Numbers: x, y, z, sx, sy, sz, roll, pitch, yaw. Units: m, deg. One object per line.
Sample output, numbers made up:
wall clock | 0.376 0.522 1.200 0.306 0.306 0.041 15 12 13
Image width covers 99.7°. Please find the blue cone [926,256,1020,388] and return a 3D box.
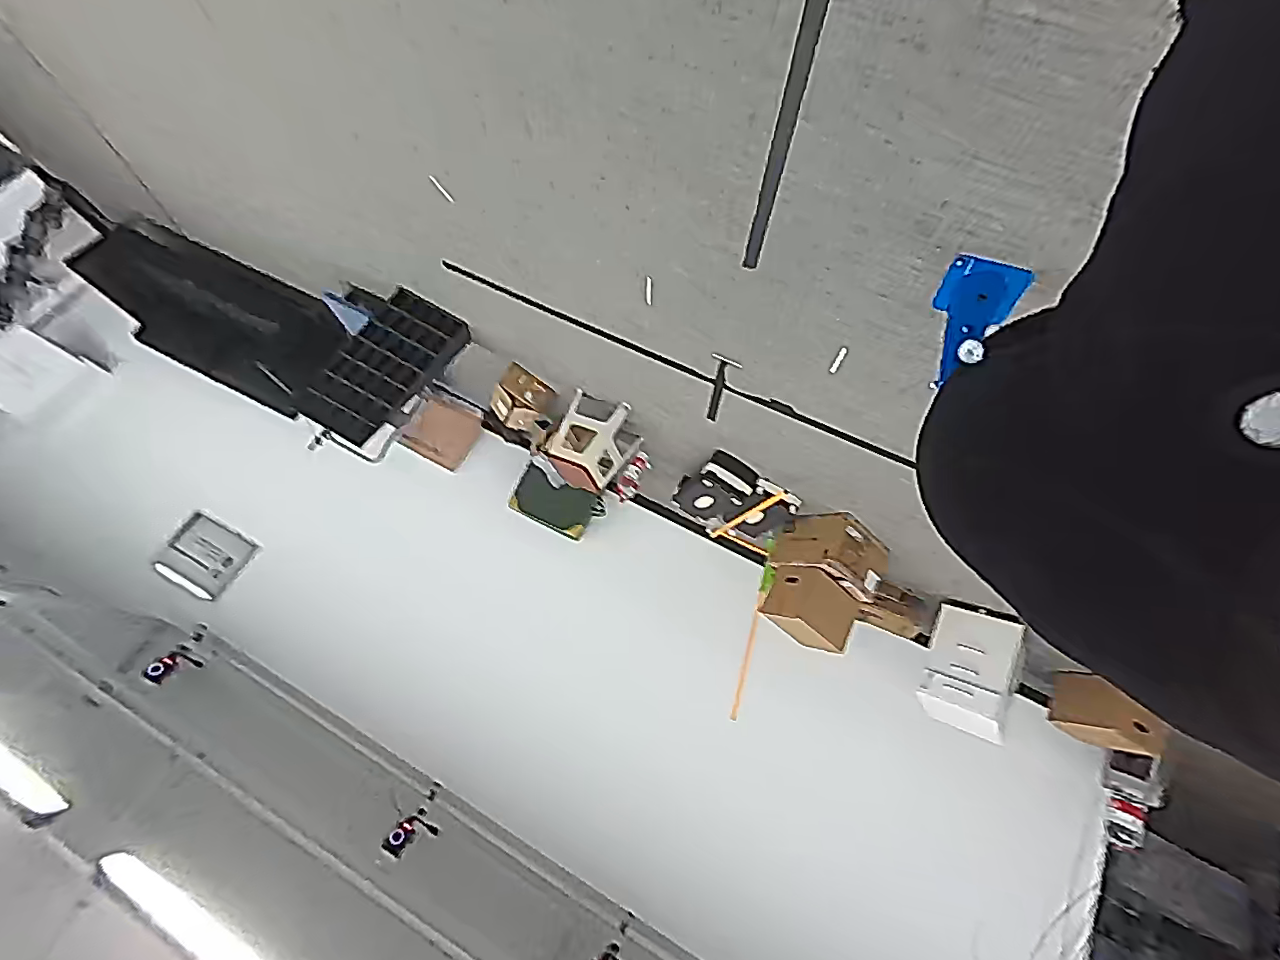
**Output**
blue cone | 0.854 -0.398 1.454 0.192 0.380 0.193 24 160 16
